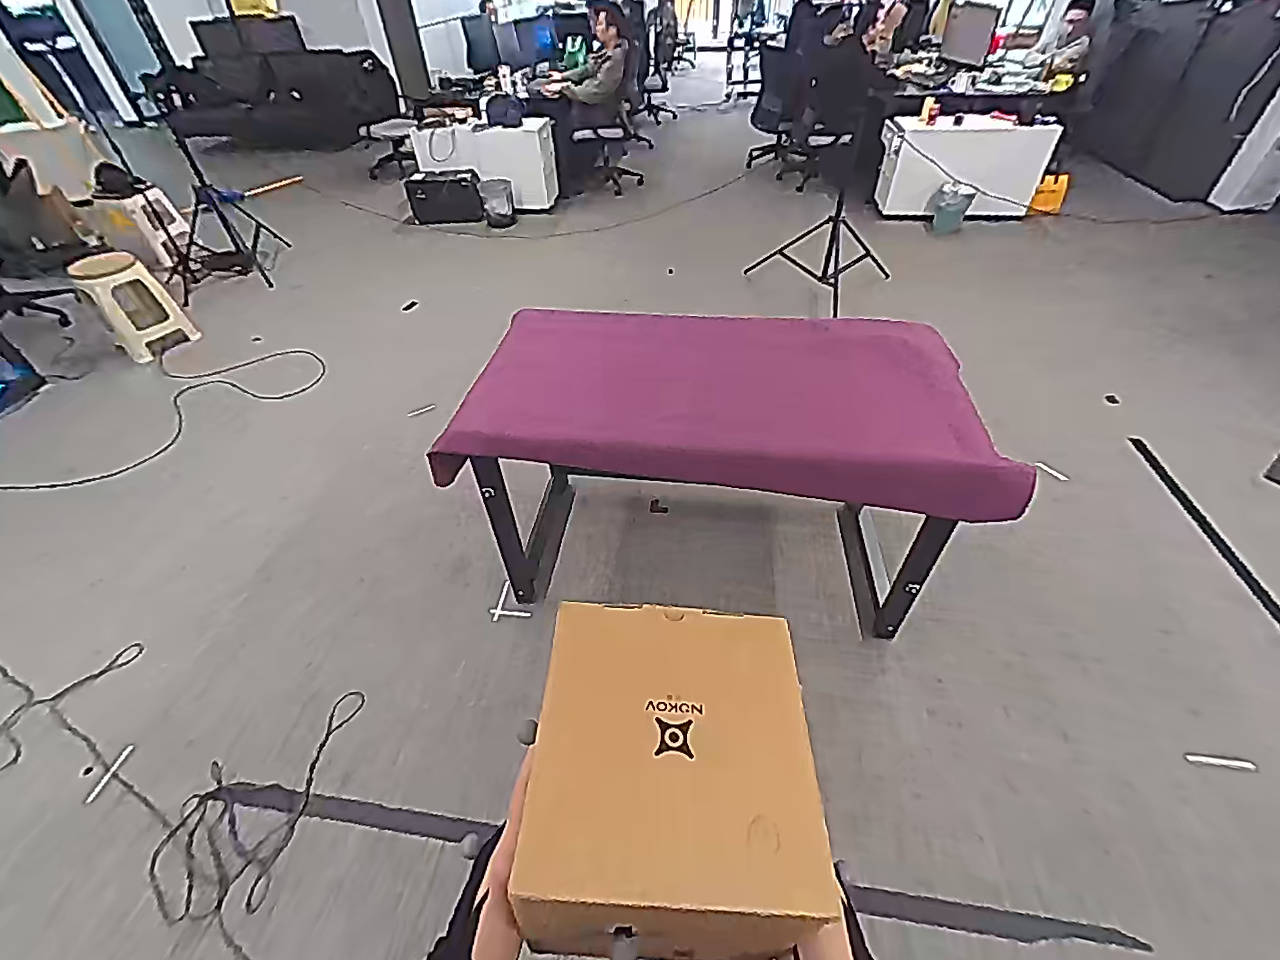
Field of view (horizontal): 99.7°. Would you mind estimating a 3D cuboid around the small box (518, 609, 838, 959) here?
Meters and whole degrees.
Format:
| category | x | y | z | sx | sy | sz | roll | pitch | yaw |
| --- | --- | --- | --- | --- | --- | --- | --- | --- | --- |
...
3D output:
| category | x | y | z | sx | sy | sz | roll | pitch | yaw |
| --- | --- | --- | --- | --- | --- | --- | --- | --- | --- |
| small box | 0.018 | 0.217 | 0.384 | 0.168 | 0.176 | 0.179 | 4 | 40 | -1 |
